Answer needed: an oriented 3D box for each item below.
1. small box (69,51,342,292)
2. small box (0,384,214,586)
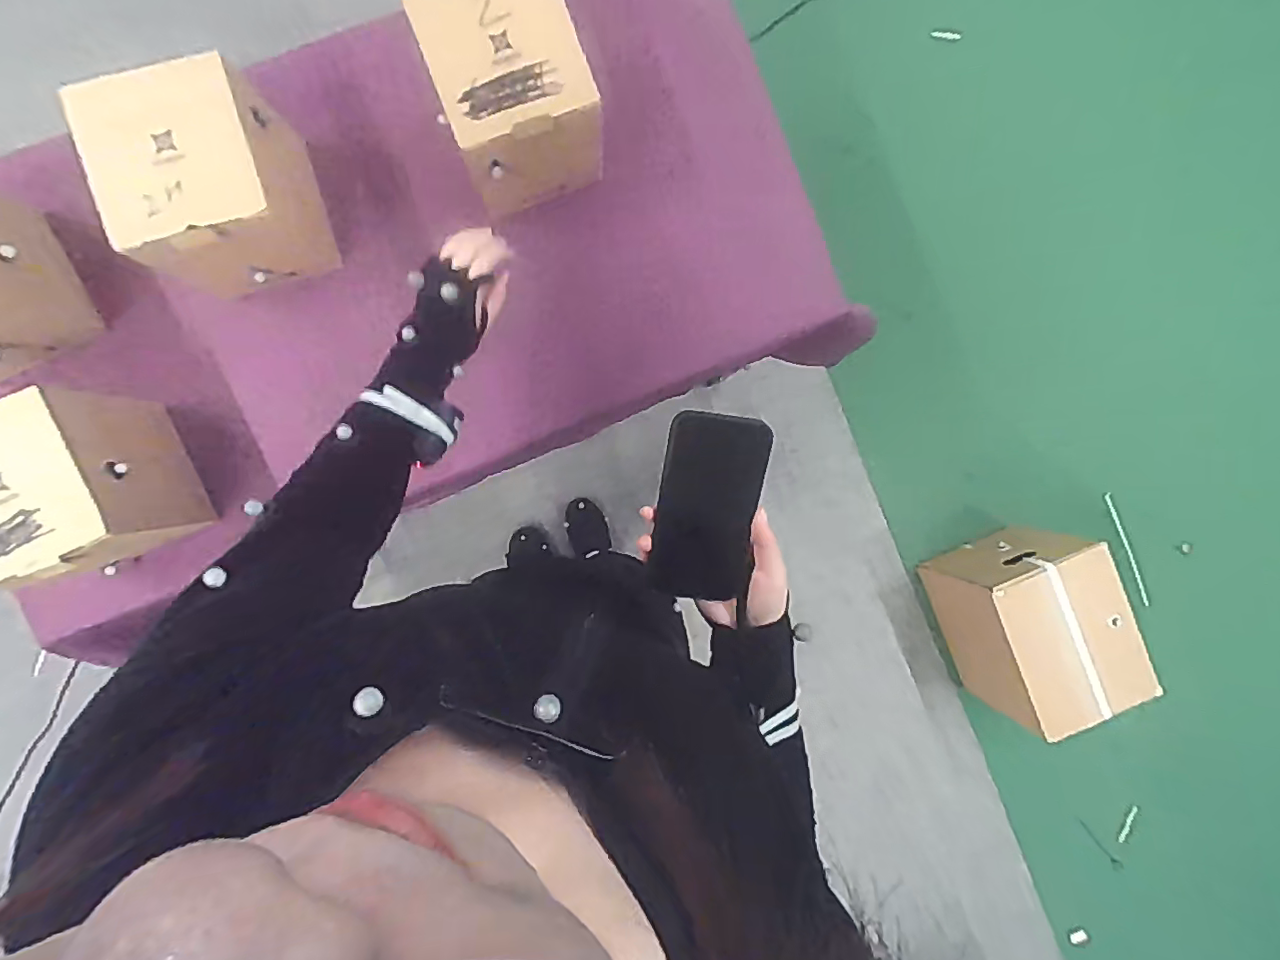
[{"bbox_3d":[-0.495,-0.351,0.647,0.168,0.176,0.179,-16,94,-3],"label":"small box"},{"bbox_3d":[-0.670,0.005,0.648,0.168,0.176,0.179,-24,92,-3],"label":"small box"}]
